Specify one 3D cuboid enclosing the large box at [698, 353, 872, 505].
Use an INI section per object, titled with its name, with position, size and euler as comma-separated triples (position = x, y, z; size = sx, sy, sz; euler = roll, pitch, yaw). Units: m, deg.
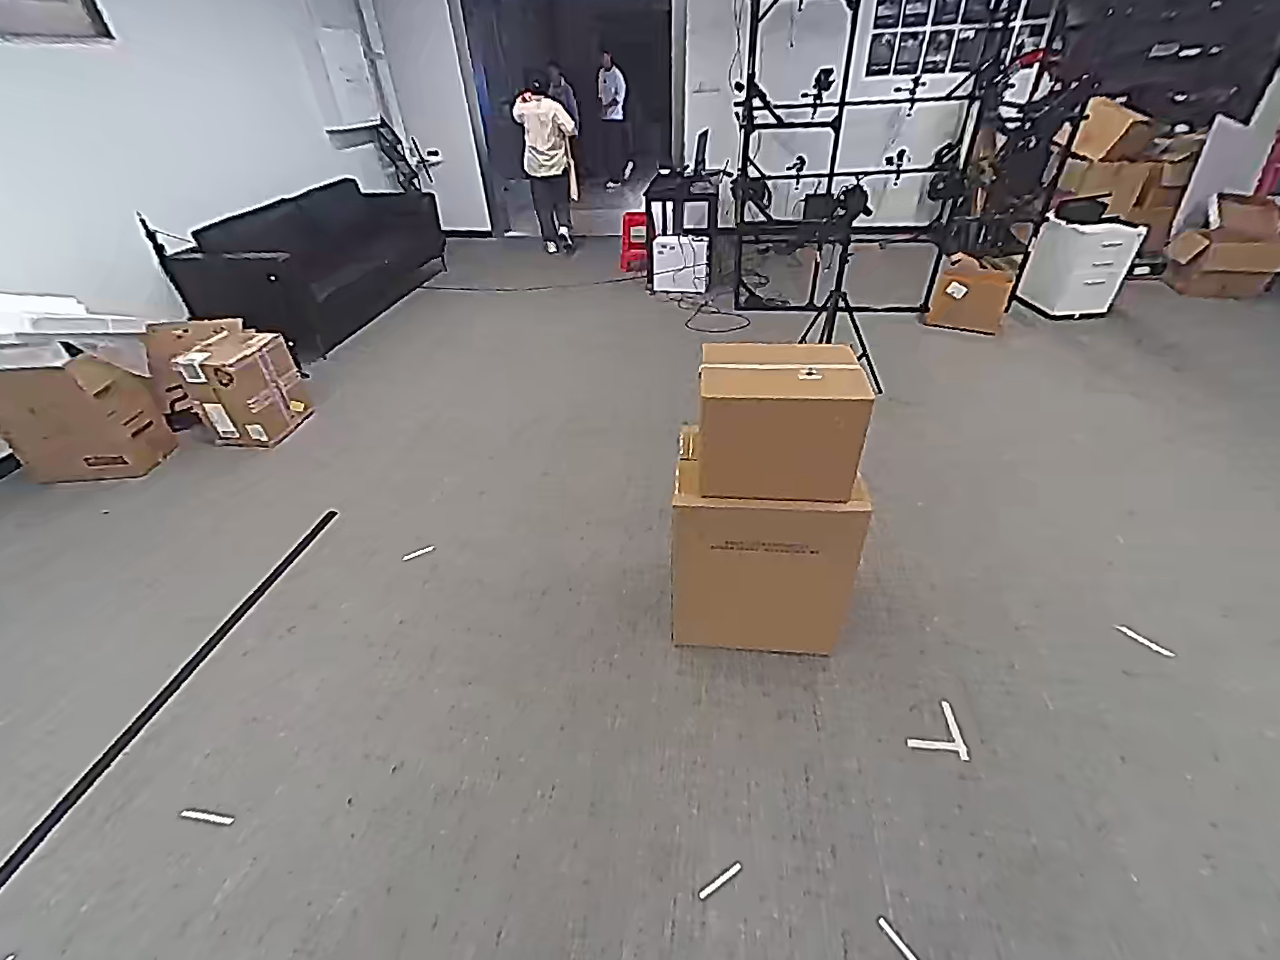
[large box]
position = 0.366, -0.145, 1.492
size = 0.408, 0.320, 0.320
euler = 2, 38, 6
